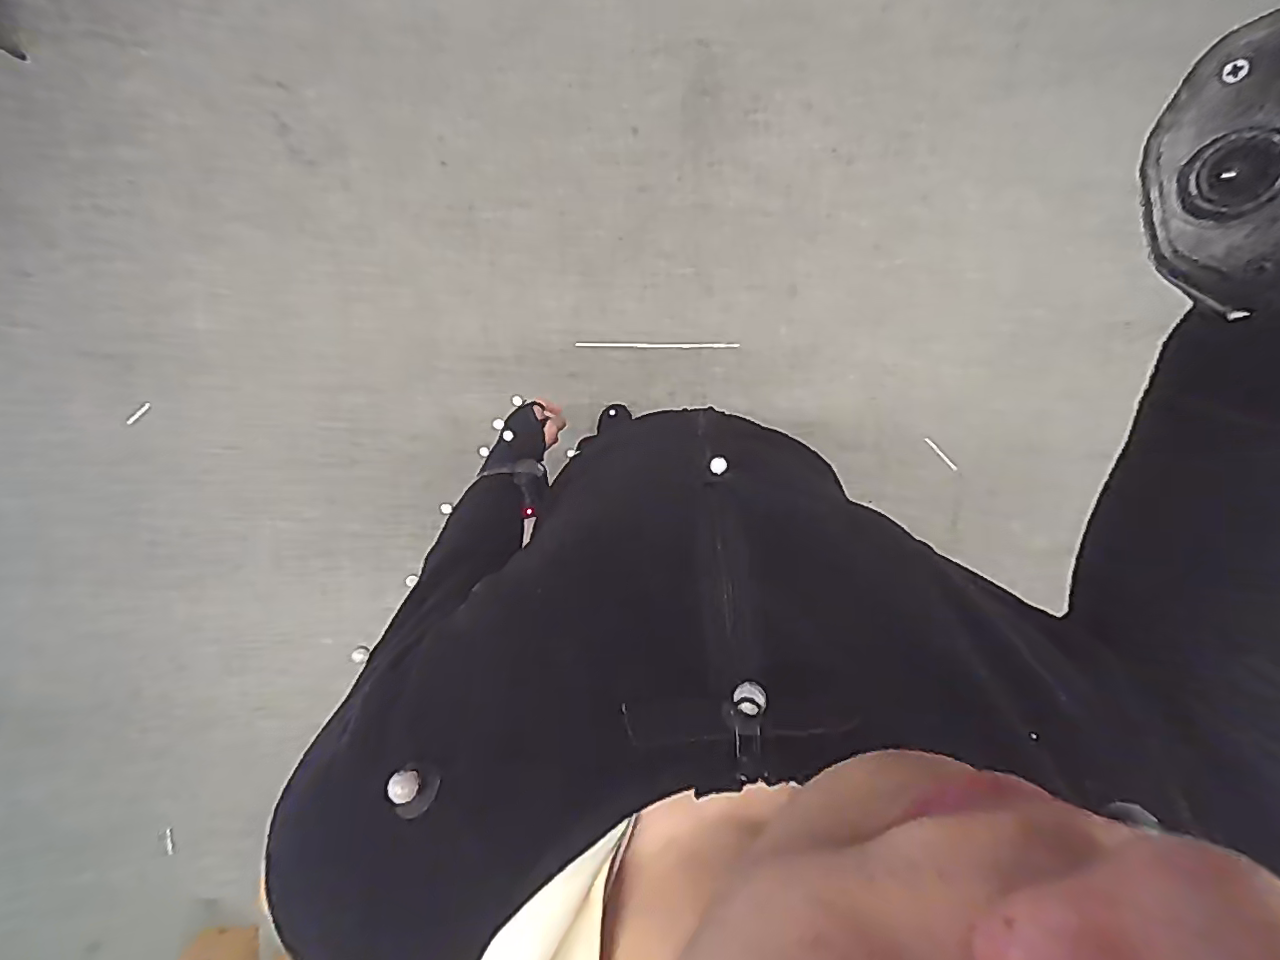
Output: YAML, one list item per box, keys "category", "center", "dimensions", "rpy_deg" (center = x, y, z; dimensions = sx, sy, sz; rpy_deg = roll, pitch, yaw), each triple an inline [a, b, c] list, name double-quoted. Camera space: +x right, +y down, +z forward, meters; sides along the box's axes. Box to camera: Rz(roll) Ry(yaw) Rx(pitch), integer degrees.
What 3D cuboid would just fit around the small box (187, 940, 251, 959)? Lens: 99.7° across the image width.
- category: "small box"
  center: [-1.376, 1.627, 1.720]
  dimensions: [0.168, 0.176, 0.179]
  rpy_deg: [4, 97, 0]
